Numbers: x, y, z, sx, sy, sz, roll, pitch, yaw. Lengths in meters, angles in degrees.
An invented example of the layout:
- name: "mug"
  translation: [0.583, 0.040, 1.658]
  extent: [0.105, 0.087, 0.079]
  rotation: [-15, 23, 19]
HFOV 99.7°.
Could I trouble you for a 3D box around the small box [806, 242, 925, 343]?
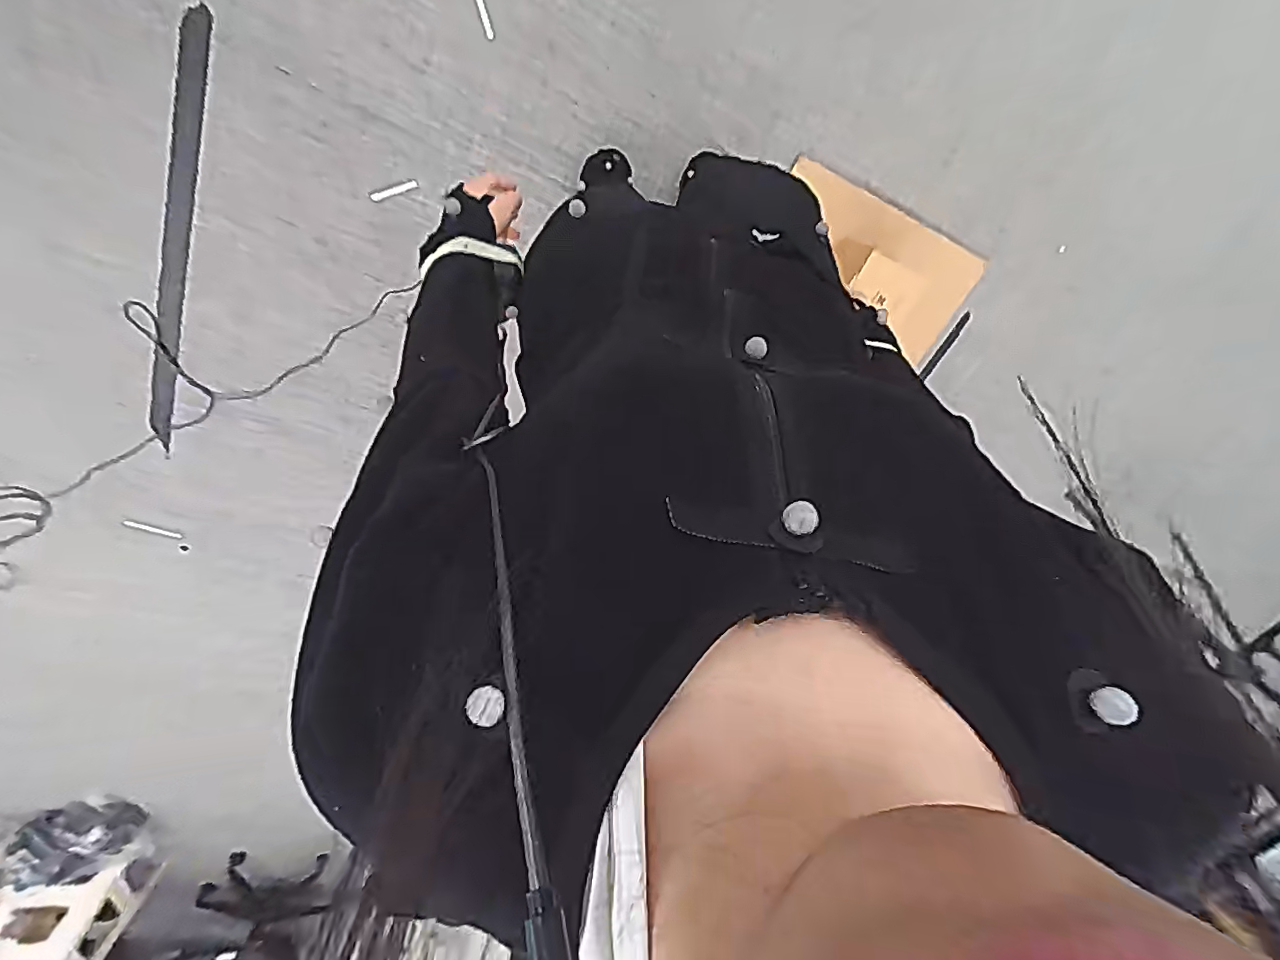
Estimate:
- name: "small box"
  translation: [0.544, -0.467, 1.333]
  extent: [0.179, 0.176, 0.168]
  rotation: [19, 119, -19]
